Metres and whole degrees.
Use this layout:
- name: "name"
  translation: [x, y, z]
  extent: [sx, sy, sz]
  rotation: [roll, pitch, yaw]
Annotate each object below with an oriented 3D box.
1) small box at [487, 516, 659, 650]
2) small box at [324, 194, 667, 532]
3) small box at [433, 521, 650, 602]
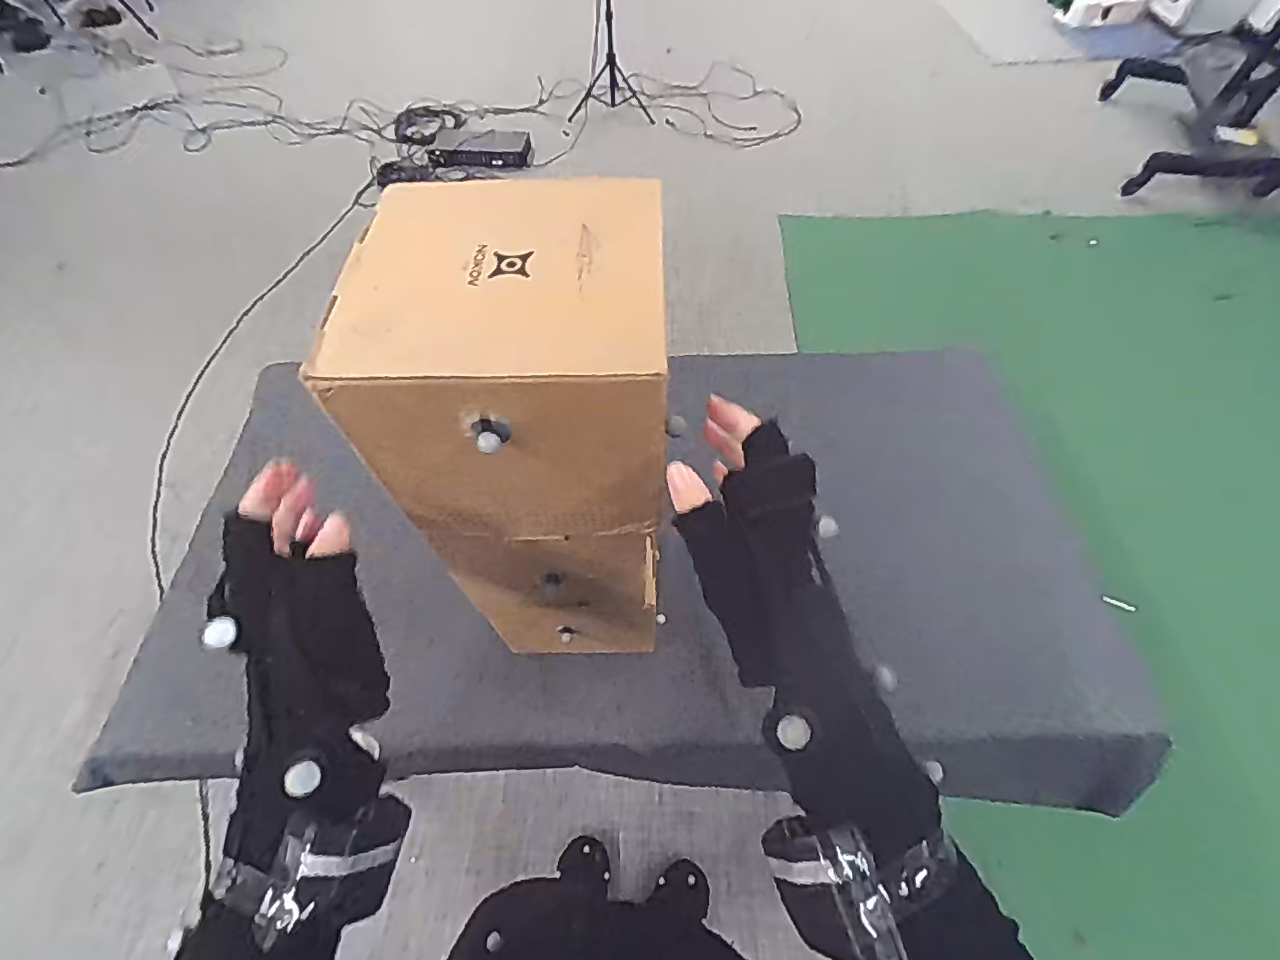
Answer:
- name: "small box"
  translation: [-0.067, 0.100, 0.654]
  extent: [0.179, 0.176, 0.168]
  rotation: [-1, 57, 1]
- name: "small box"
  translation: [-0.071, -0.071, 0.377]
  extent: [0.179, 0.176, 0.168]
  rotation: [-1, 58, 0]
- name: "small box"
  translation: [-0.075, 0.012, 0.518]
  extent: [0.168, 0.176, 0.179]
  rotation: [-2, 57, 0]
